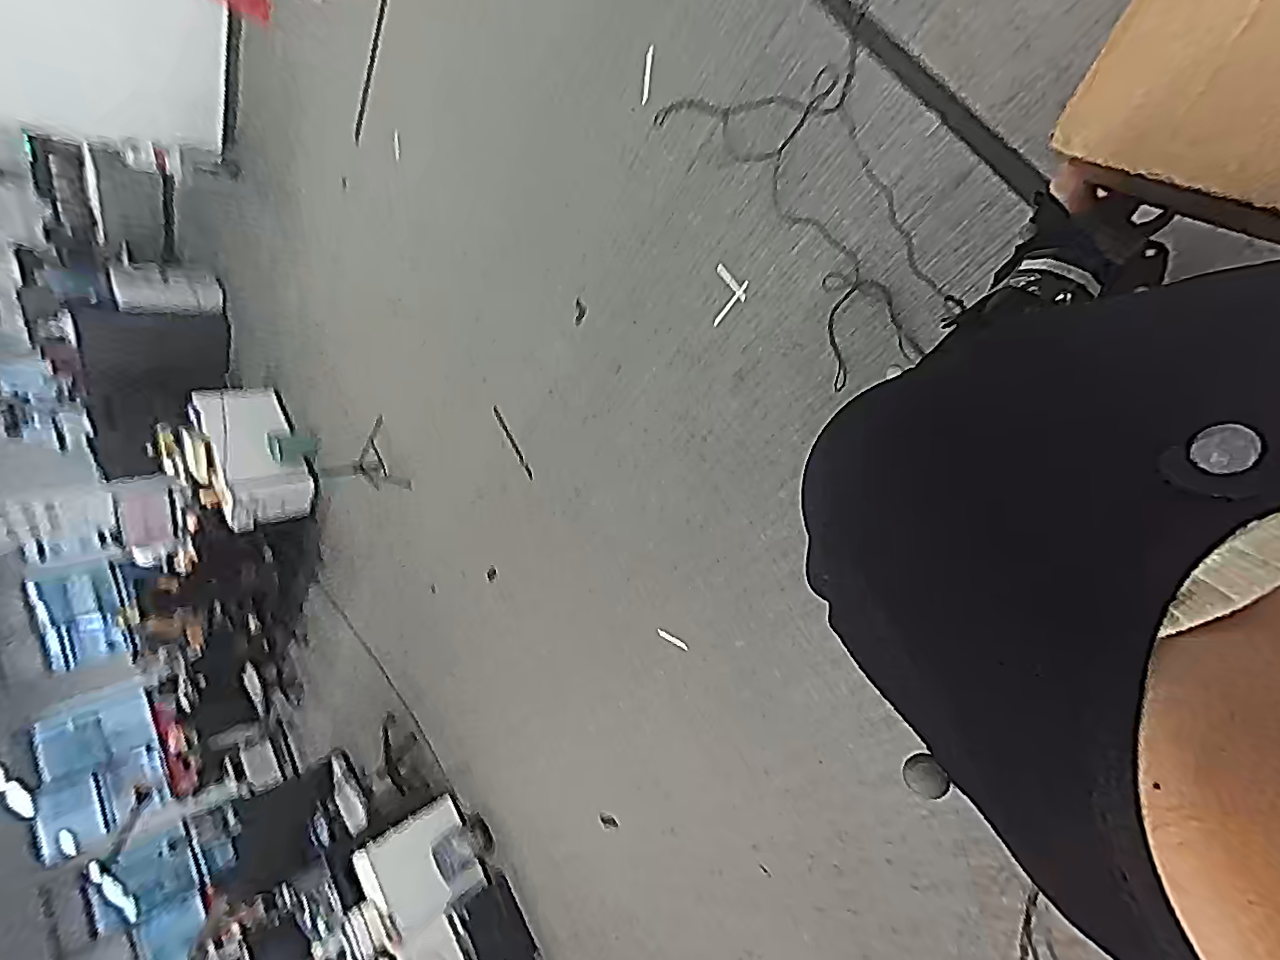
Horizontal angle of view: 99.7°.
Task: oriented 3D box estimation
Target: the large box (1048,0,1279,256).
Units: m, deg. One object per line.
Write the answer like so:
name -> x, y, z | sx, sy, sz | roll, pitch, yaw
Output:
large box -> 0.498, -0.238, 0.233 | 0.408, 0.320, 0.320 | 36, 130, 27
